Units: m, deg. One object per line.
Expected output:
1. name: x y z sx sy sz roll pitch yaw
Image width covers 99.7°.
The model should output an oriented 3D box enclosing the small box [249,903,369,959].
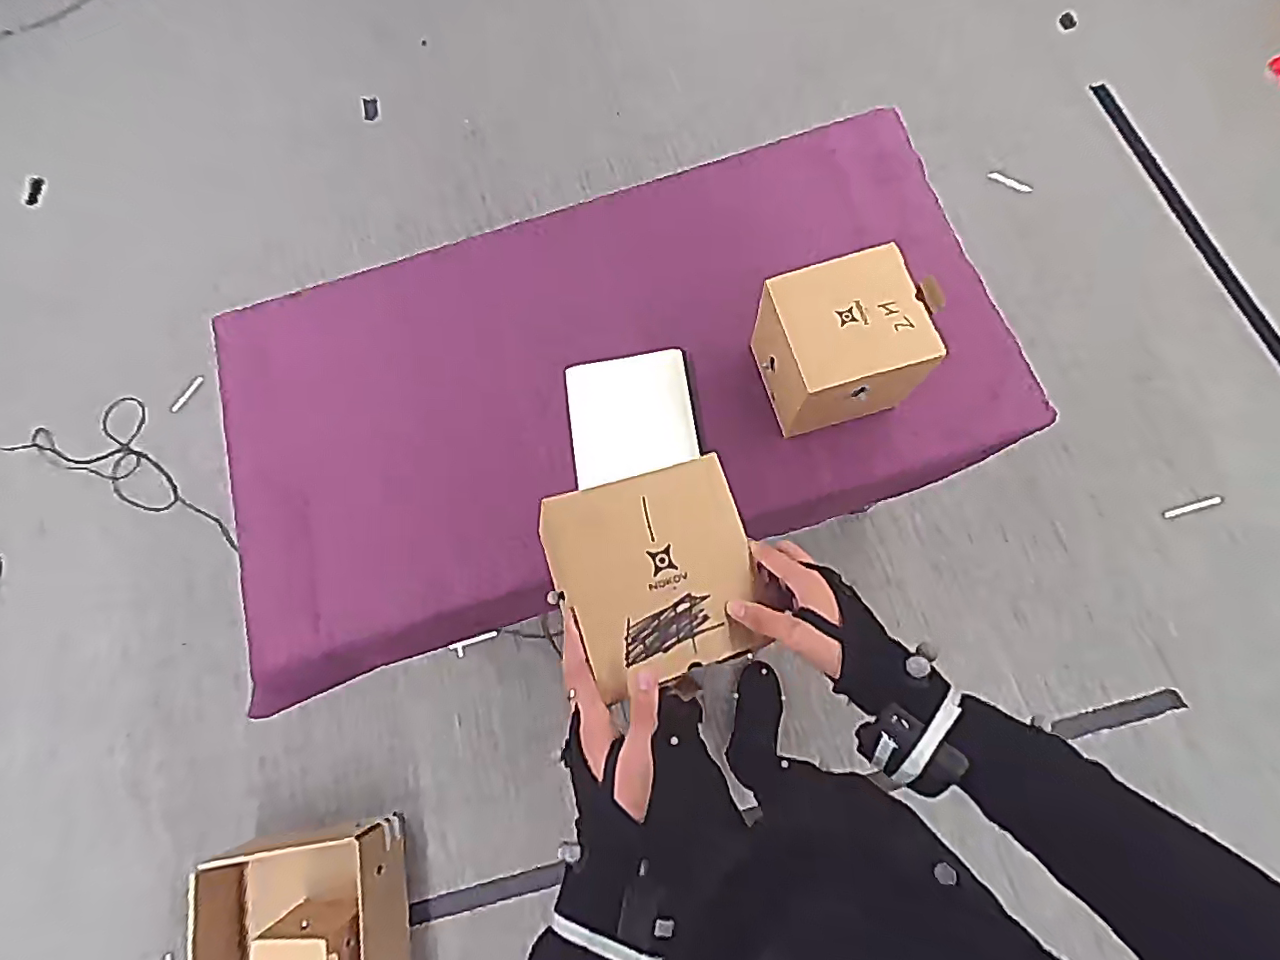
1. small box: -0.733 1.077 1.202 0.179 0.176 0.168 -4 76 3

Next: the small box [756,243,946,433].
1. small box: 0.265 -0.180 0.735 0.179 0.176 0.168 -16 75 0

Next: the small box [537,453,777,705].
1. small box: 0.002 0.094 0.528 0.168 0.176 0.179 -15 78 -15
